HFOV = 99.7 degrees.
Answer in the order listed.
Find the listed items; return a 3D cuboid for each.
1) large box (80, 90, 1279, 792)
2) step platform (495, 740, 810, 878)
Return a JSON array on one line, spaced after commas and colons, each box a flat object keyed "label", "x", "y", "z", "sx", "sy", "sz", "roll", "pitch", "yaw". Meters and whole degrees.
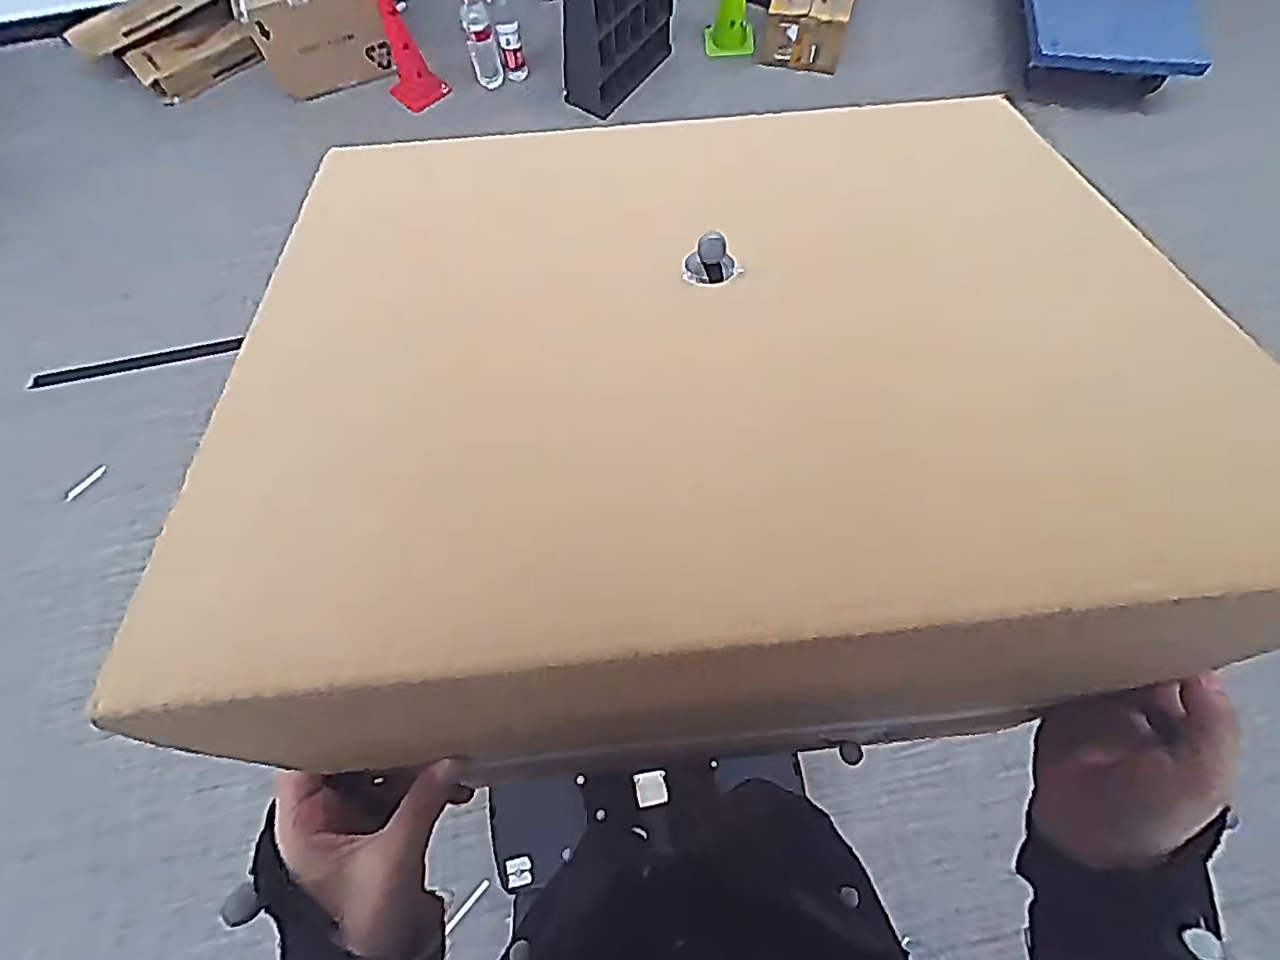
[{"label": "large box", "x": 0.021, "y": -0.002, "z": 0.361, "sx": 0.408, "sy": 0.320, "sz": 0.320, "roll": -8, "pitch": 59, "yaw": -1}, {"label": "step platform", "x": 0.025, "y": 0.679, "z": 1.222, "sx": 0.684, "sy": 0.204, "sz": 0.286, "roll": -6, "pitch": 69, "yaw": -1}]
